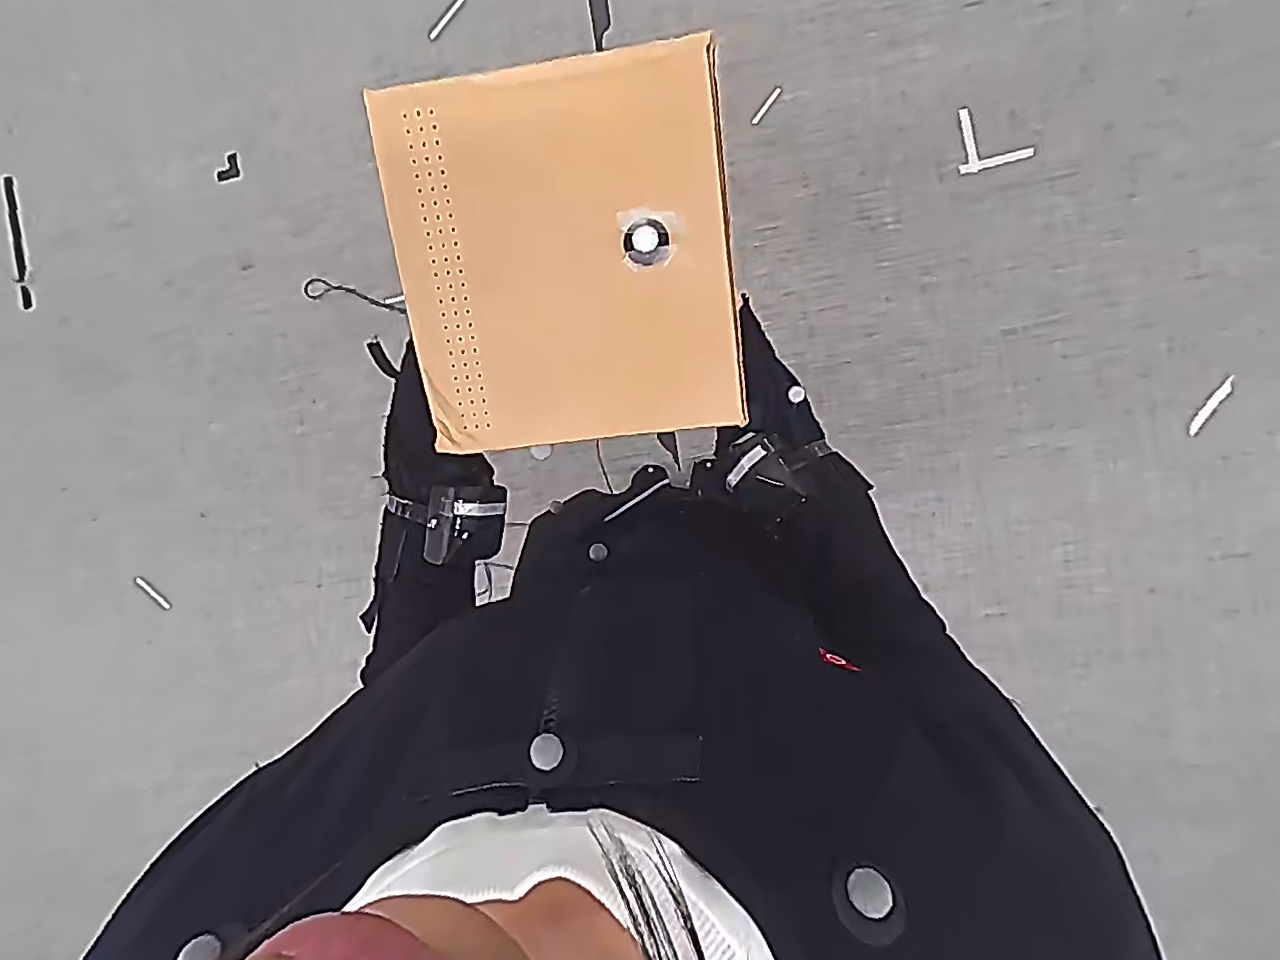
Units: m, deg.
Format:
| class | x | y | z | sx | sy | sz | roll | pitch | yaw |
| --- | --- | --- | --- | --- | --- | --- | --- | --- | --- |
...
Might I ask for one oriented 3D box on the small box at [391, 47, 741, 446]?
| class | x | y | z | sx | sy | sz | roll | pitch | yaw |
| --- | --- | --- | --- | --- | --- | --- | --- | --- | --- |
| small box | -0.035 | -0.127 | 0.352 | 0.176 | 0.168 | 0.179 | -6 | 102 | 6 |
